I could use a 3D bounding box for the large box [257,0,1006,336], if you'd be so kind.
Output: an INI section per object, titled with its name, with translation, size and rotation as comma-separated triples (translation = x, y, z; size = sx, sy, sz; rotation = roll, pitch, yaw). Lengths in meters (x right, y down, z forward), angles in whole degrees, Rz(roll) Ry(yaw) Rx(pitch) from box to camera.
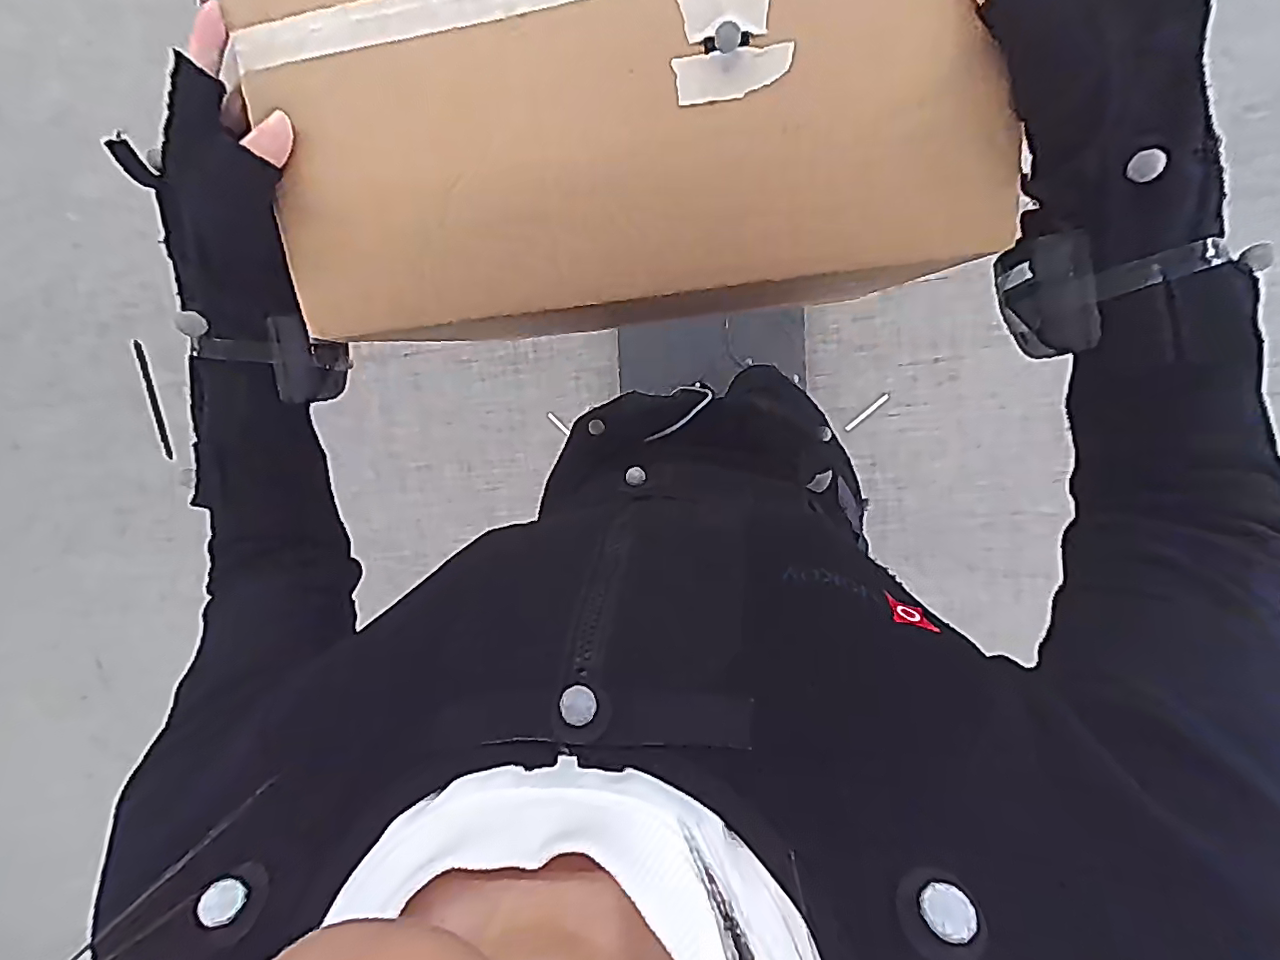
[large box]
translation = -0.003, -0.299, 0.428
size = 0.408, 0.320, 0.320
rotation = -5, 104, 8
